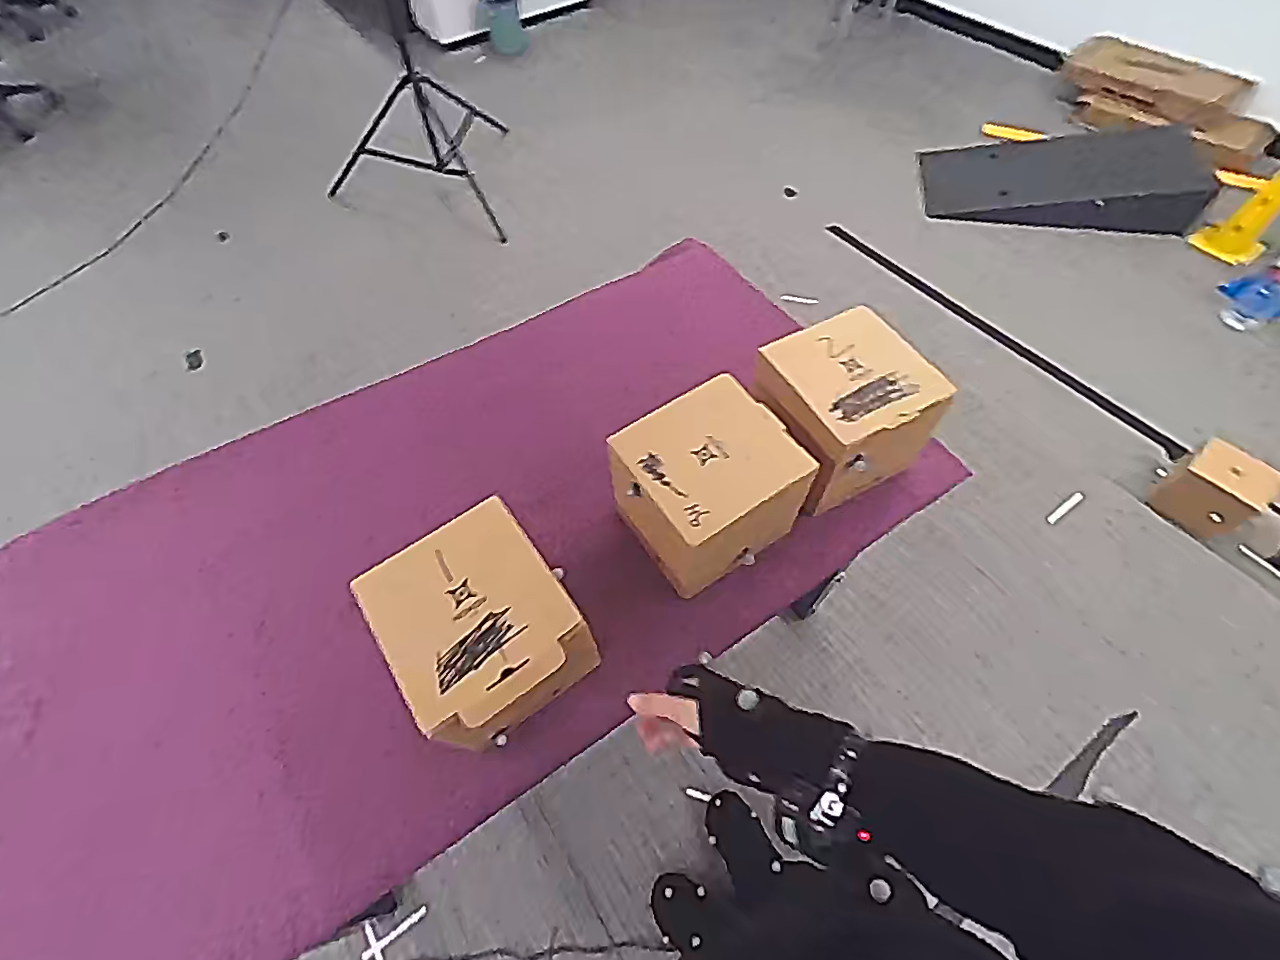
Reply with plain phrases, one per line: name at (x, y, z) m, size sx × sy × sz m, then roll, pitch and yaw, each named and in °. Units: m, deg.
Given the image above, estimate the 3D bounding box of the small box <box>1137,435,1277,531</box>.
small box at (1.537, 0.017, 1.475) m, size 0.168 × 0.176 × 0.179 m, roll -37°, pitch 64°, yaw -20°

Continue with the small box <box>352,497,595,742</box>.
small box at (-0.163, 0.157, 0.581) m, size 0.168 × 0.176 × 0.179 m, roll -33°, pitch 63°, yaw -17°
